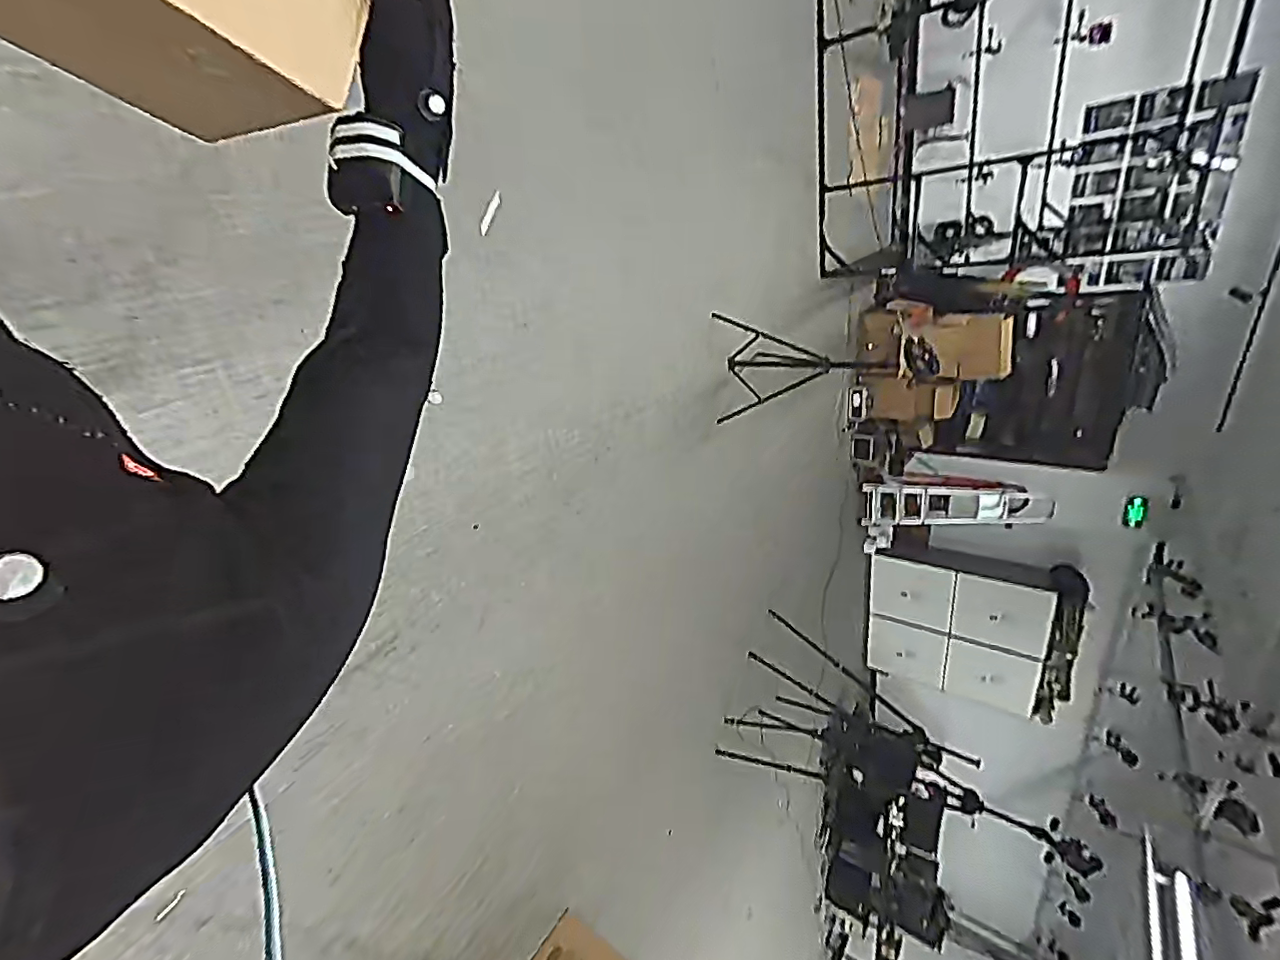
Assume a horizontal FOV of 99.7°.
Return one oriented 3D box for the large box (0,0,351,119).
[{"bbox_3d":[-0.428,-0.505,0.326,0.408,0.320,0.320,8,100,-56],"label":"large box"}]
